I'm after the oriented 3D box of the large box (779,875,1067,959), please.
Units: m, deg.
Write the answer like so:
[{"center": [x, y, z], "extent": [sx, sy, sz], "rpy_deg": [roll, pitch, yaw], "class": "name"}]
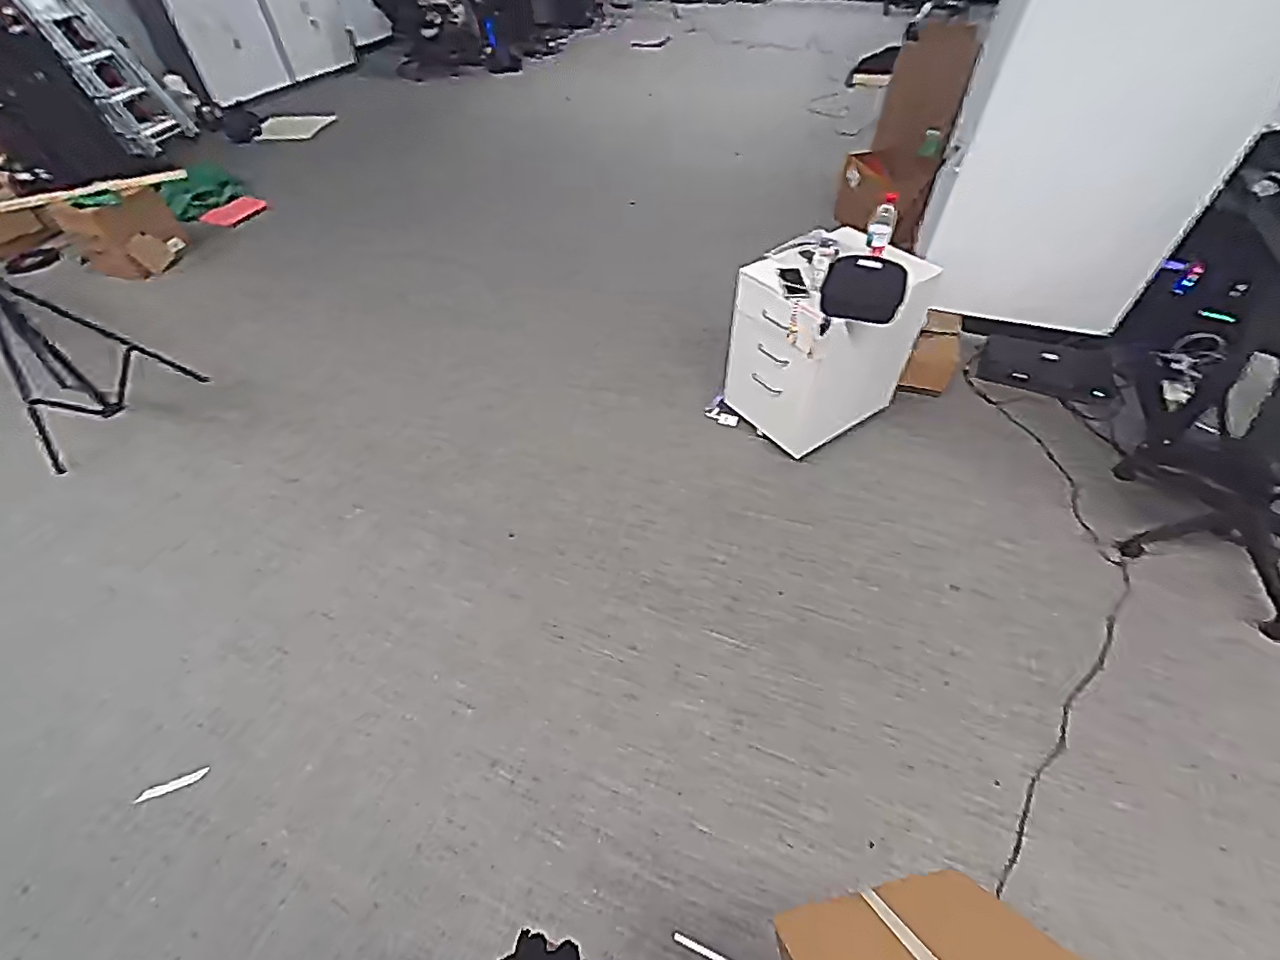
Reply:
[{"center": [0.402, 0.760, 0.631], "extent": [0.320, 0.408, 0.320], "rpy_deg": [-11, 78, -6], "class": "large box"}]
